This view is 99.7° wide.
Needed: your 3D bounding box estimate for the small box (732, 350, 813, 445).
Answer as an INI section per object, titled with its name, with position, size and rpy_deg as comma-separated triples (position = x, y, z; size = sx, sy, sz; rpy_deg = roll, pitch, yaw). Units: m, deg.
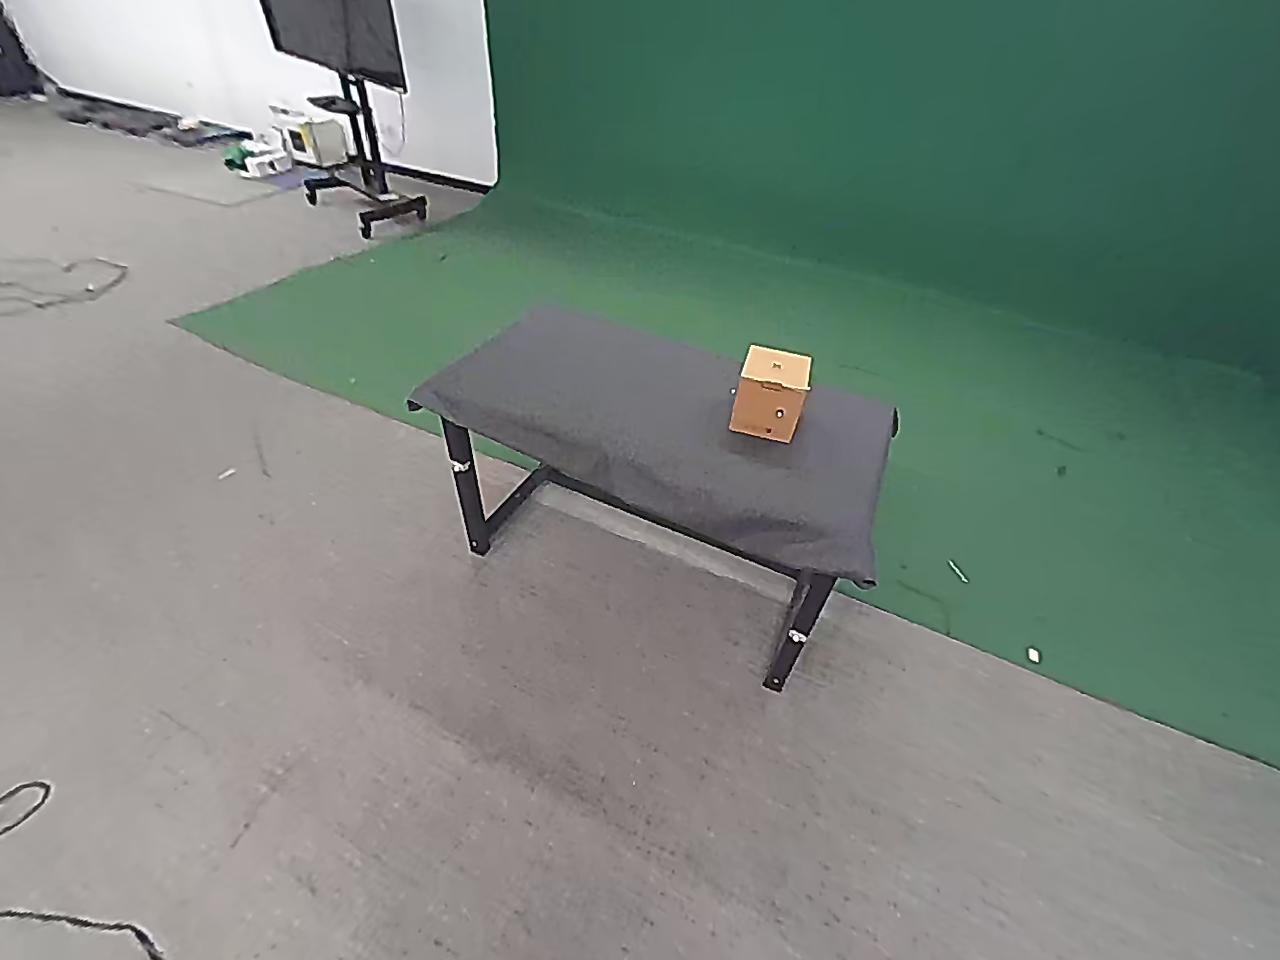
[small box]
position = 0.349, -0.219, 1.441
size = 0.168, 0.176, 0.179
rpy_deg = 16, 42, 9
